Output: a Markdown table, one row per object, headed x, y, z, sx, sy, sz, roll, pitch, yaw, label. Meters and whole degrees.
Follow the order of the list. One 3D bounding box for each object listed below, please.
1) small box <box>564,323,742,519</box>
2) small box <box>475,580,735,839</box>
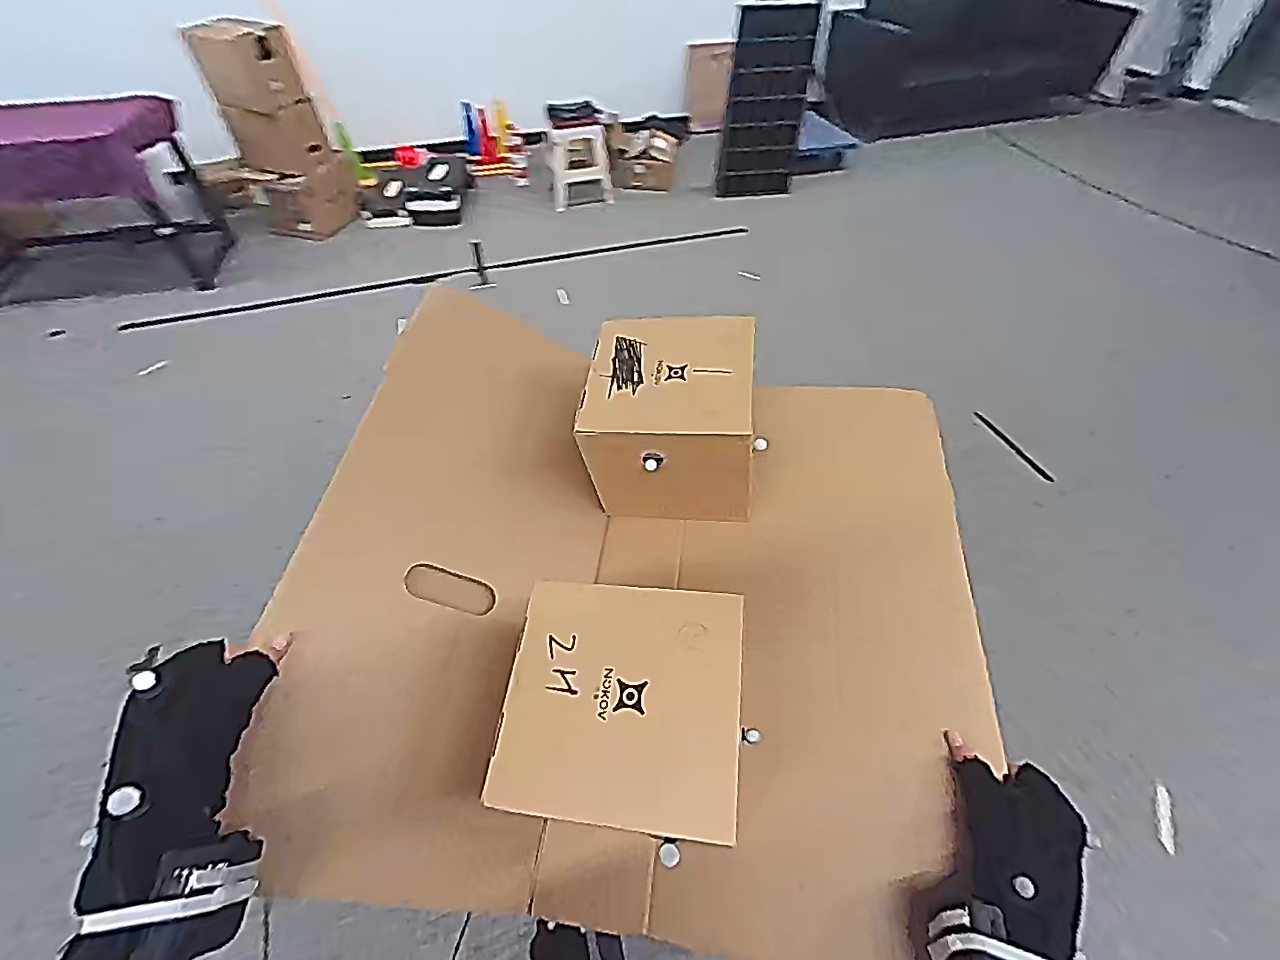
| x | y | z | sx | sy | sz | roll | pitch | yaw | label |
| --- | --- | --- | --- | --- | --- | --- | --- | --- | --- |
| 0.029 | -0.064 | 0.640 | 0.179 | 0.176 | 0.168 | 2 | 57 | 11 | small box |
| -0.009 | 0.201 | 0.472 | 0.179 | 0.176 | 0.168 | 2 | 57 | 12 | small box |
